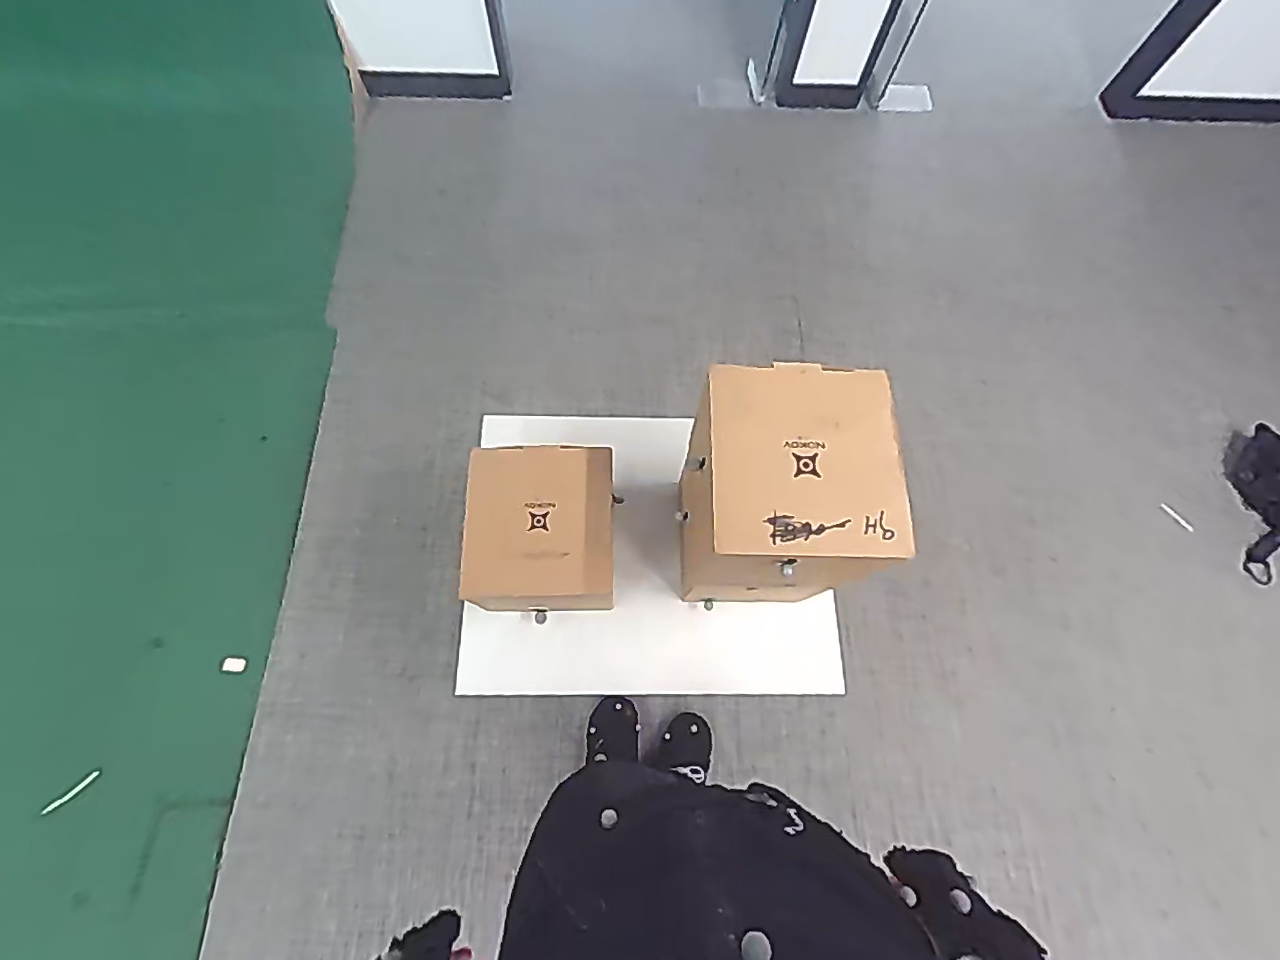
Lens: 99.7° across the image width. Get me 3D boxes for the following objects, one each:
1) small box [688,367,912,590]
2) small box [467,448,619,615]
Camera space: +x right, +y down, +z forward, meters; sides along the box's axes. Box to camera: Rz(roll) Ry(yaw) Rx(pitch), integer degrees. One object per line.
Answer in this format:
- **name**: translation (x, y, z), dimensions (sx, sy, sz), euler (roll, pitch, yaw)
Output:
- **small box**: translation (0.138, 0.007, 0.539), dimensions (0.168, 0.176, 0.179), euler (1, 70, -1)
- **small box**: translation (-0.111, 0.072, 0.686), dimensions (0.168, 0.176, 0.179), euler (-3, 72, -2)
